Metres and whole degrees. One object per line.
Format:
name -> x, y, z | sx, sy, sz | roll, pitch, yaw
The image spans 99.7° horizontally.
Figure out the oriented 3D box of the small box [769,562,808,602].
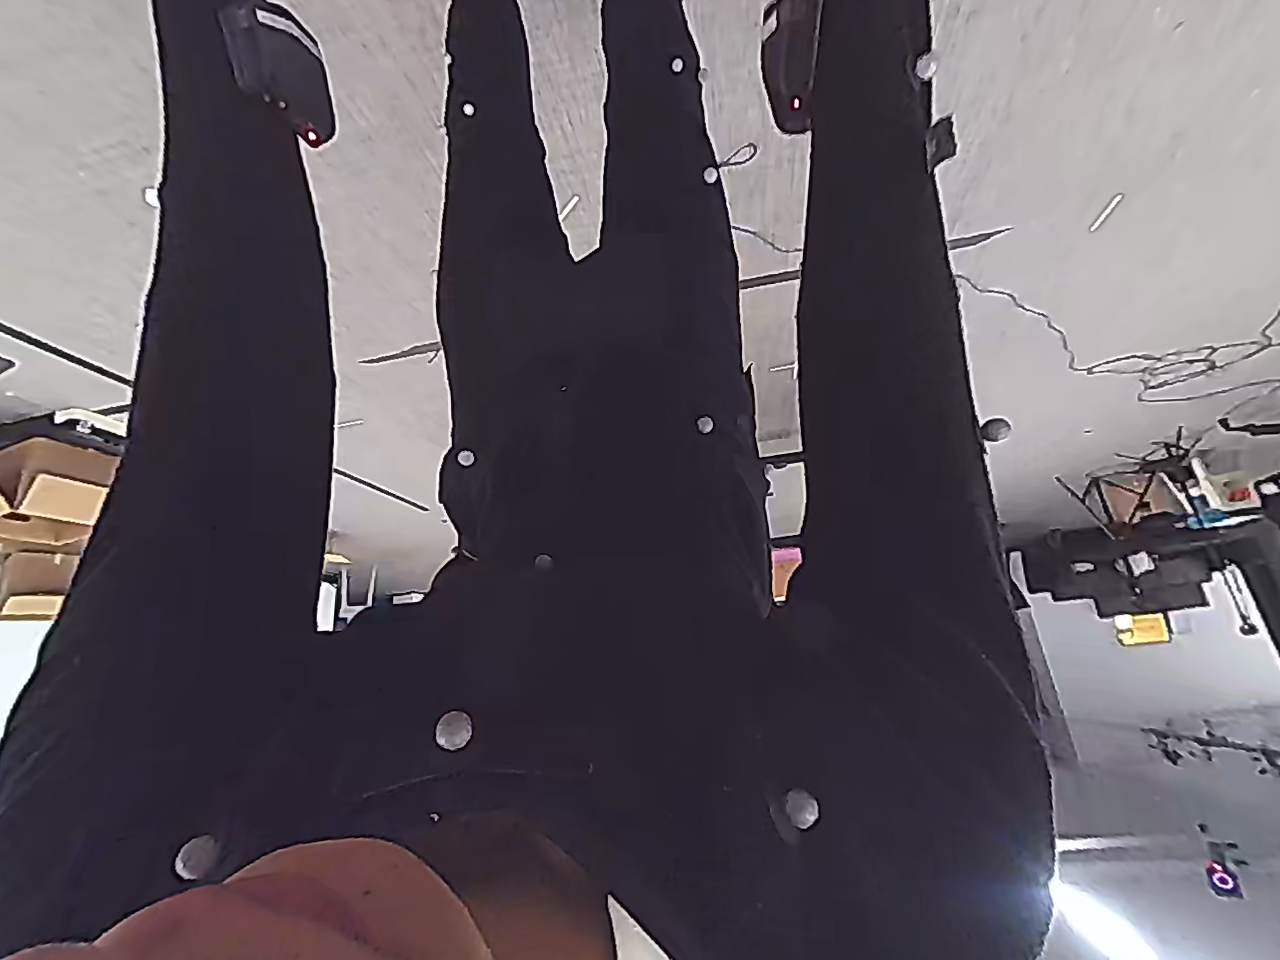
small box -> 0.741, 0.509, 2.704 | 0.168, 0.176, 0.179 | -10, 159, 12
